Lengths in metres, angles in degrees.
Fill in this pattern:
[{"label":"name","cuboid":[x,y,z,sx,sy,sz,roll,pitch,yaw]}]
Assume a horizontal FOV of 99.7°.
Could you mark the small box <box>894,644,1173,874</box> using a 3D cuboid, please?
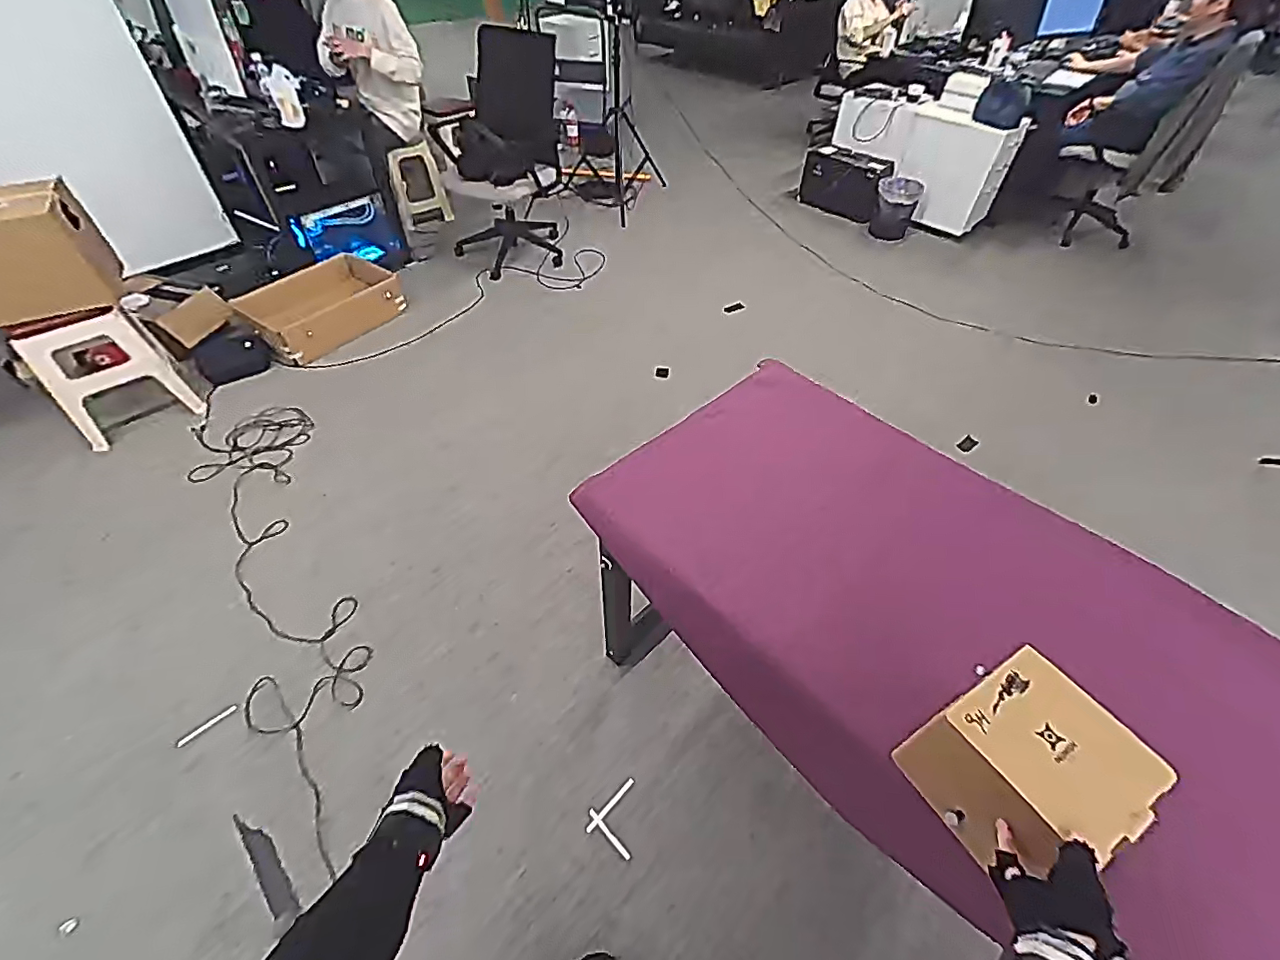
[{"label":"small box","cuboid":[0.451,0.338,0.651,0.168,0.176,0.179,-24,53,-22]}]
